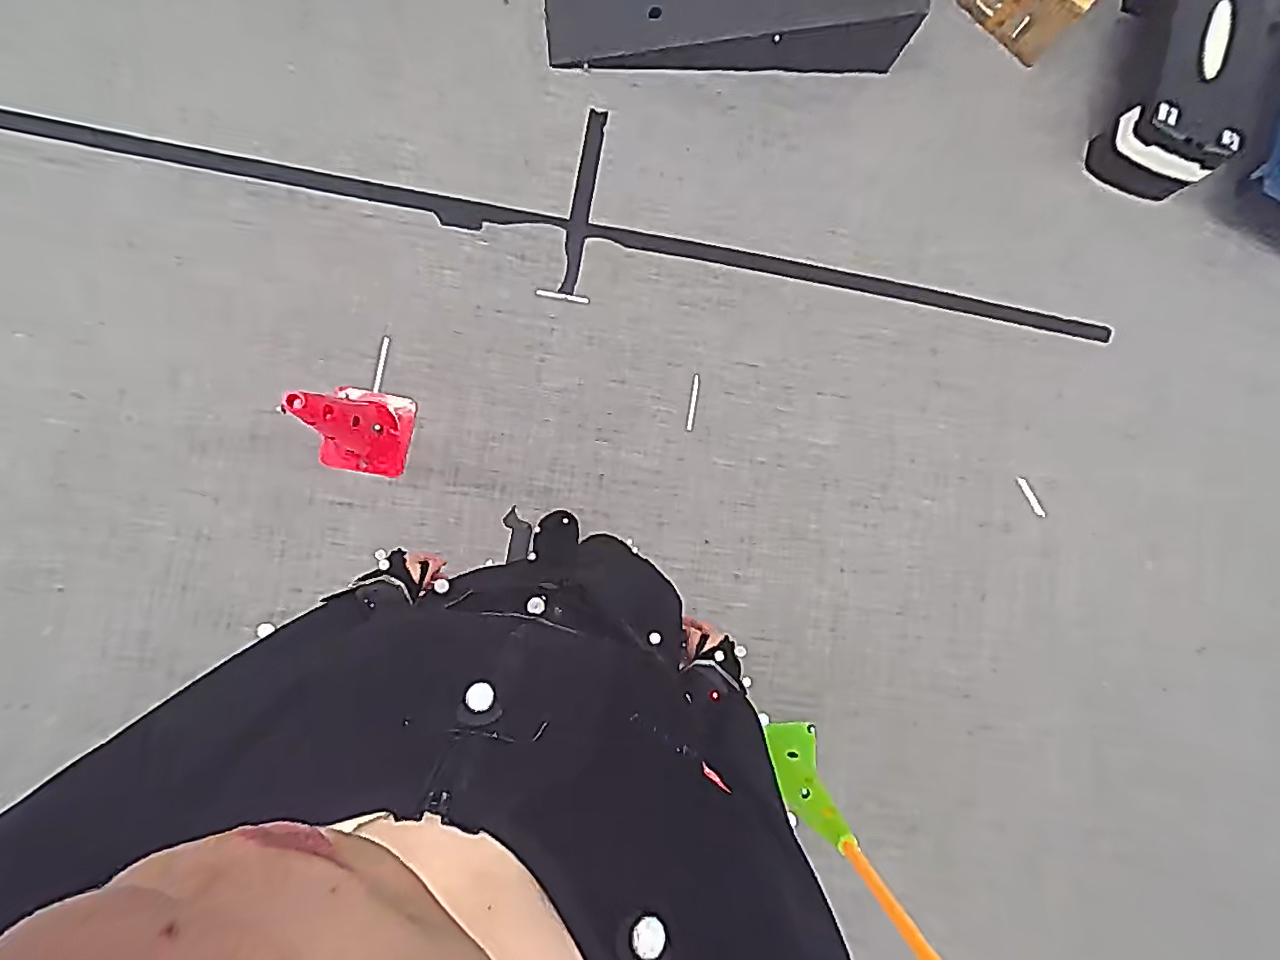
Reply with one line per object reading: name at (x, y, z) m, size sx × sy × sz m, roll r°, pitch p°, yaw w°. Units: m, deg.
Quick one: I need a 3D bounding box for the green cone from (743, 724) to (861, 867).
green cone at (0.381, 0.725, 1.215) m, size 0.200 × 0.368 × 0.202 m, roll -1°, pitch 88°, yaw -7°

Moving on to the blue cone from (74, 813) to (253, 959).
blue cone at (-0.969, 0.847, 1.060) m, size 0.193 × 0.380 × 0.192 m, roll 12°, pitch 85°, yaw -5°
